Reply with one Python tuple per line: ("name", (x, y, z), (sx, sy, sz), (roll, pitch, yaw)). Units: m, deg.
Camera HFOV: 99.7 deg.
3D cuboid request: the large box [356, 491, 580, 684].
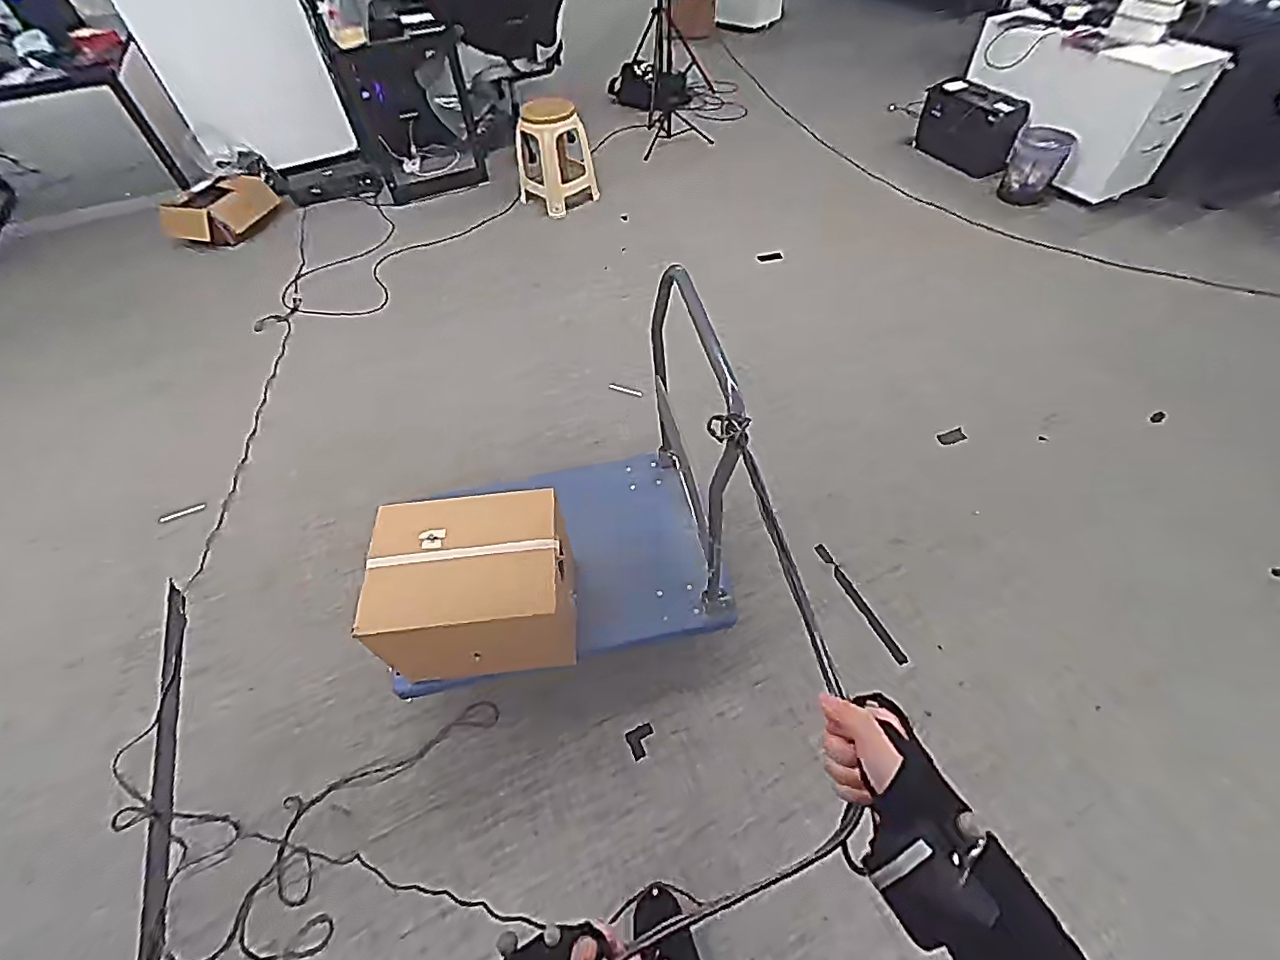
("large box", (-0.368, 0.259, 1.266), (0.408, 0.320, 0.320), (-7, 52, -1))
